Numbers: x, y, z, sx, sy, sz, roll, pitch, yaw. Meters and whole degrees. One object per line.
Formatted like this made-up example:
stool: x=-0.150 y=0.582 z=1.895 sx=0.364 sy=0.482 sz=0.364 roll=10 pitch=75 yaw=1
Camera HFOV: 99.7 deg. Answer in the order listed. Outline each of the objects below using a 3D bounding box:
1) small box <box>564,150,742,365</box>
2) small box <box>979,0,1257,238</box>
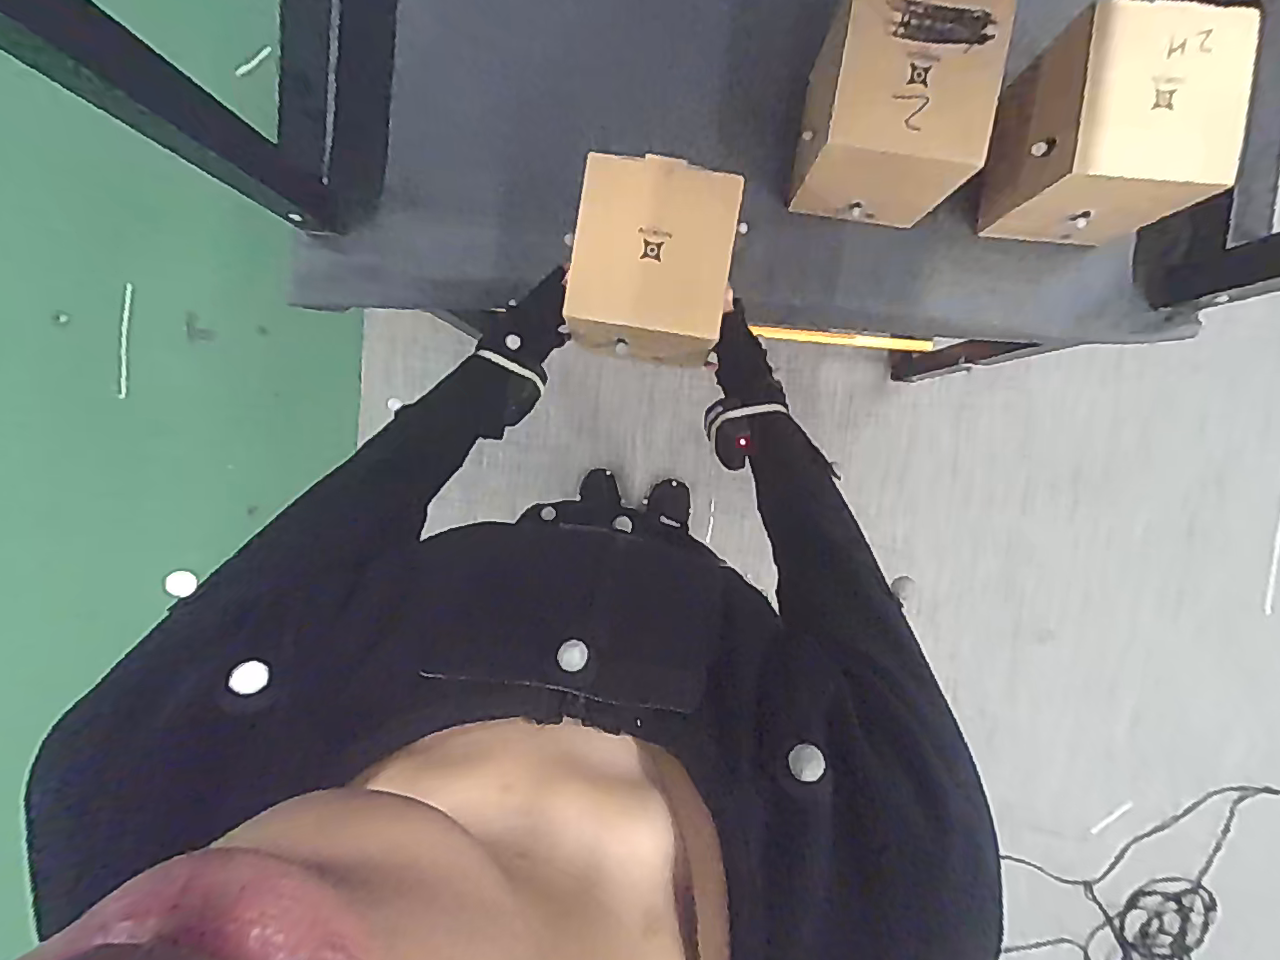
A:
small box: x=0.014 y=-0.246 z=0.641 sx=0.168 sy=0.176 sz=0.179 roll=9 pitch=90 yaw=0
small box: x=0.531 y=-0.402 z=0.629 sx=0.168 sy=0.176 sz=0.179 roll=5 pitch=94 yaw=0
